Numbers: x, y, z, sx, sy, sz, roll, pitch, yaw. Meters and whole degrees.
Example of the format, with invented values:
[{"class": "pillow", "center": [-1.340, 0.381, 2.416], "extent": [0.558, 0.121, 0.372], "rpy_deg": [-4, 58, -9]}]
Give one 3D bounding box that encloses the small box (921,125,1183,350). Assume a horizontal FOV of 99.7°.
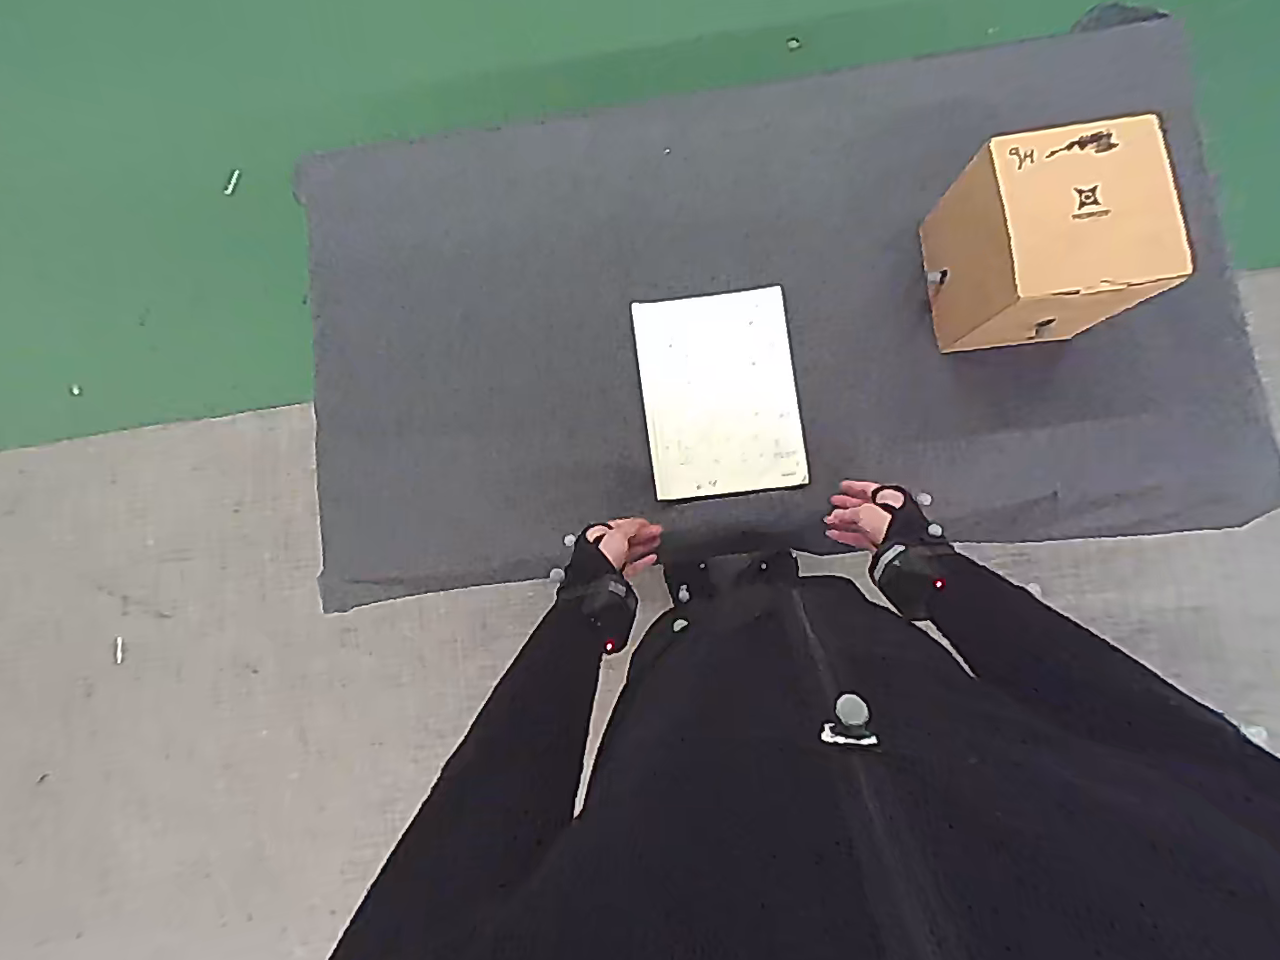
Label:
[{"class": "small box", "center": [0.451, -0.258, 0.622], "extent": [0.168, 0.176, 0.179], "rpy_deg": [-6, 86, 3]}]
